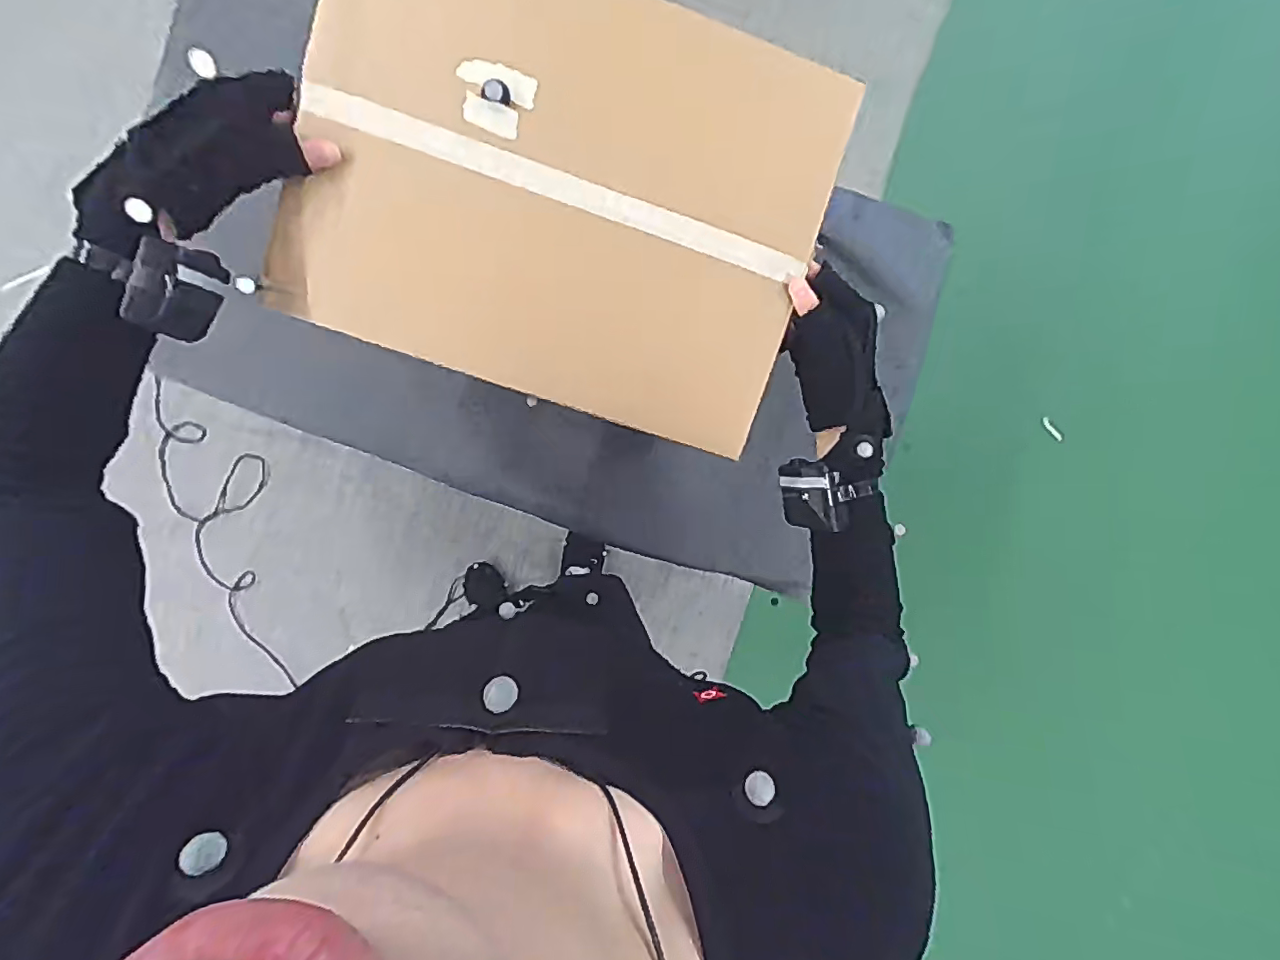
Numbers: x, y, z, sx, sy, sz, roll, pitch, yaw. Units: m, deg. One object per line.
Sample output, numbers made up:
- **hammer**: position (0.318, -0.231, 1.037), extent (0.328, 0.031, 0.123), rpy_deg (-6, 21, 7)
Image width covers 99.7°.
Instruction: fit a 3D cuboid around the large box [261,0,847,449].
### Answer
- **large box**: position (-0.073, -0.242, 0.570), extent (0.408, 0.320, 0.320), rpy_deg (17, 96, -5)
